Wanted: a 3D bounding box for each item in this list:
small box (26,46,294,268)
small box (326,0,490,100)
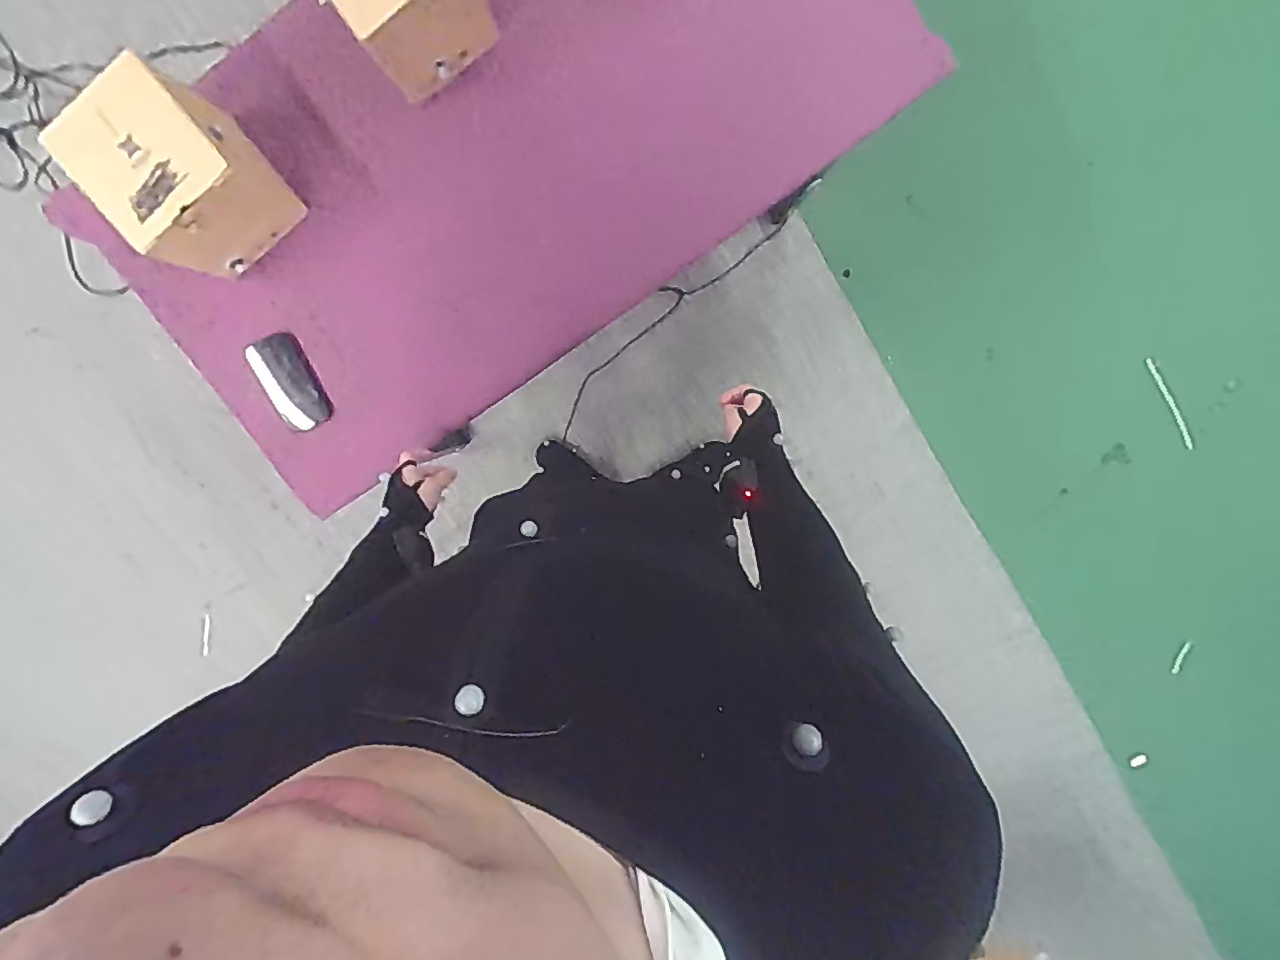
[{"bbox_3d":[-0.629,-0.414,0.737,0.168,0.176,0.179,-38,97,5],"label":"small box"},{"bbox_3d":[-0.326,-0.656,0.704,0.168,0.176,0.179,-35,99,6],"label":"small box"}]
